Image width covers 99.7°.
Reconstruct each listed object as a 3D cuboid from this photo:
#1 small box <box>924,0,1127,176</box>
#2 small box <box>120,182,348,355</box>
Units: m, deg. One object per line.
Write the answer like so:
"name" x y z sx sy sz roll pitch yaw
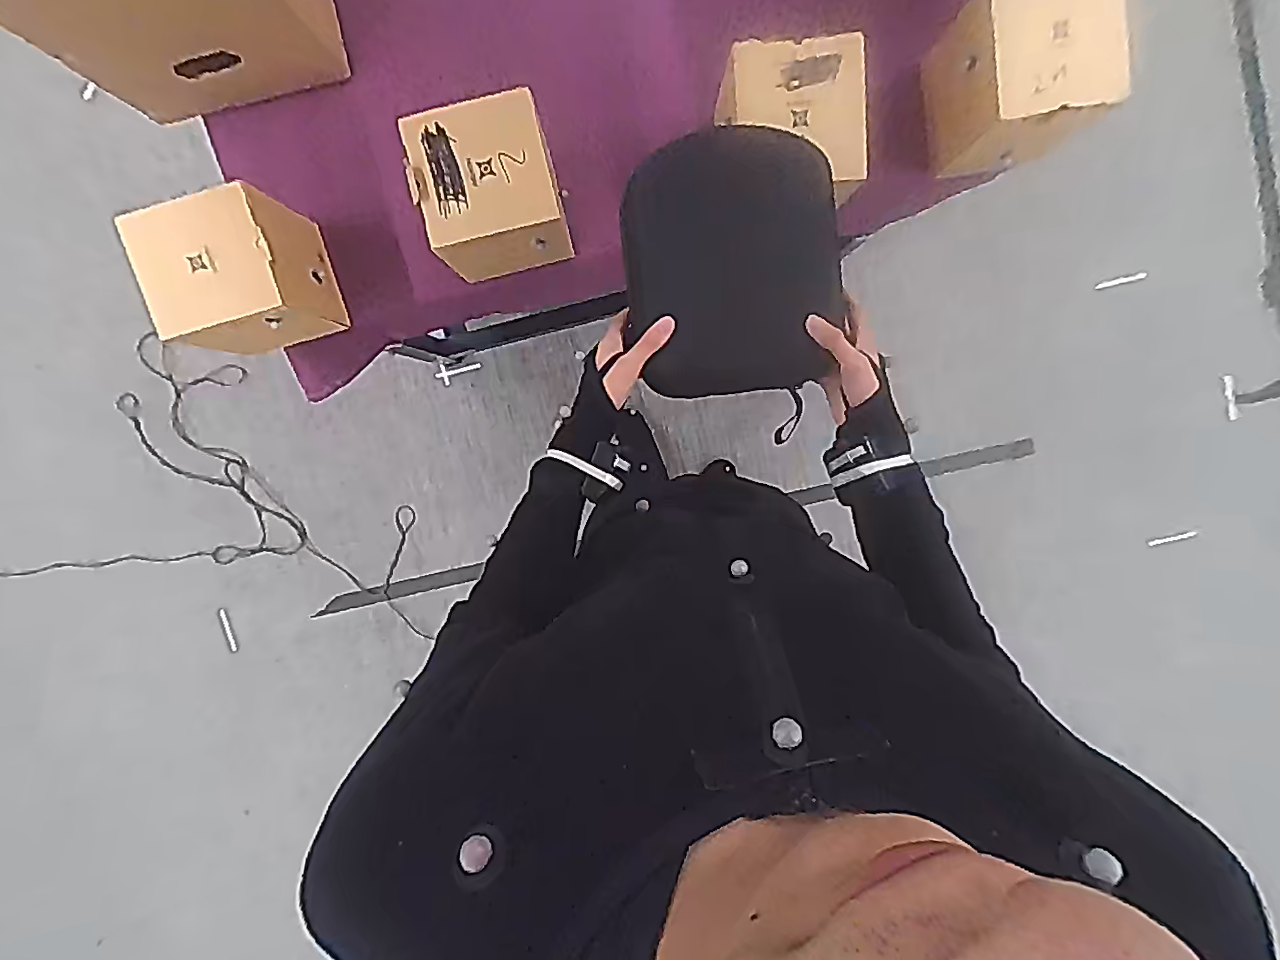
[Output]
"small box" 0.519 -0.560 0.752 0.168 0.176 0.179 -9 96 2
"small box" -0.567 -0.290 0.782 0.179 0.176 0.168 -17 96 0
